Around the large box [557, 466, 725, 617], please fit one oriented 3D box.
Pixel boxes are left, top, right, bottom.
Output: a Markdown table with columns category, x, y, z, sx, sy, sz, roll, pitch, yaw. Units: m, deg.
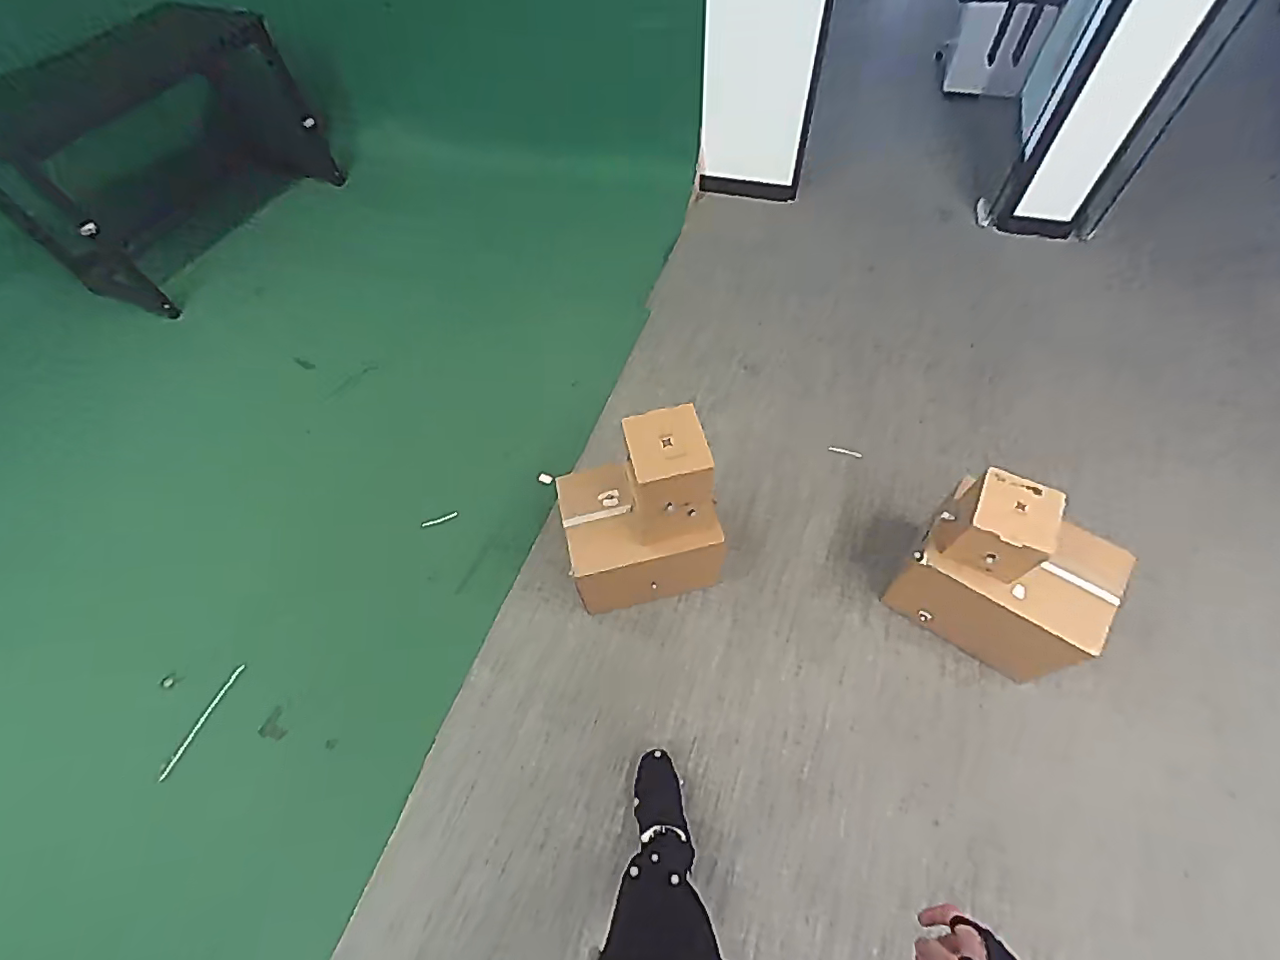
| category | x | y | z | sx | sy | sz | roll | pitch | yaw |
| --- | --- | --- | --- | --- | --- | --- | --- | --- | --- |
| large box | 0.005 | 0.162 | 1.575 | 0.408 | 0.320 | 0.320 | -14 | 57 | -4 |

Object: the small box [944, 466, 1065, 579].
| category | x | y | z | sx | sy | sz | roll | pitch | yaw |
| --- | --- | --- | --- | --- | --- | --- | --- | --- | --- |
| small box | 0.842 | 0.106 | 1.263 | 0.168 | 0.176 | 0.179 | 25 | 64 | 17 |

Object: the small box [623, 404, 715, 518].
| category | x | y | z | sx | sy | sz | roll | pitch | yaw |
| --- | --- | --- | --- | --- | --- | --- | --- | --- | --- |
| small box | 0.062 | -0.040 | 1.214 | 0.168 | 0.176 | 0.179 | -13 | 59 | -3 |

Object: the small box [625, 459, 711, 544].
| category | x | y | z | sx | sy | sz | roll | pitch | yaw |
| --- | --- | --- | --- | --- | --- | --- | --- | --- | --- |
| small box | 0.068 | 0.040 | 1.356 | 0.179 | 0.176 | 0.168 | -14 | 58 | -5 |
